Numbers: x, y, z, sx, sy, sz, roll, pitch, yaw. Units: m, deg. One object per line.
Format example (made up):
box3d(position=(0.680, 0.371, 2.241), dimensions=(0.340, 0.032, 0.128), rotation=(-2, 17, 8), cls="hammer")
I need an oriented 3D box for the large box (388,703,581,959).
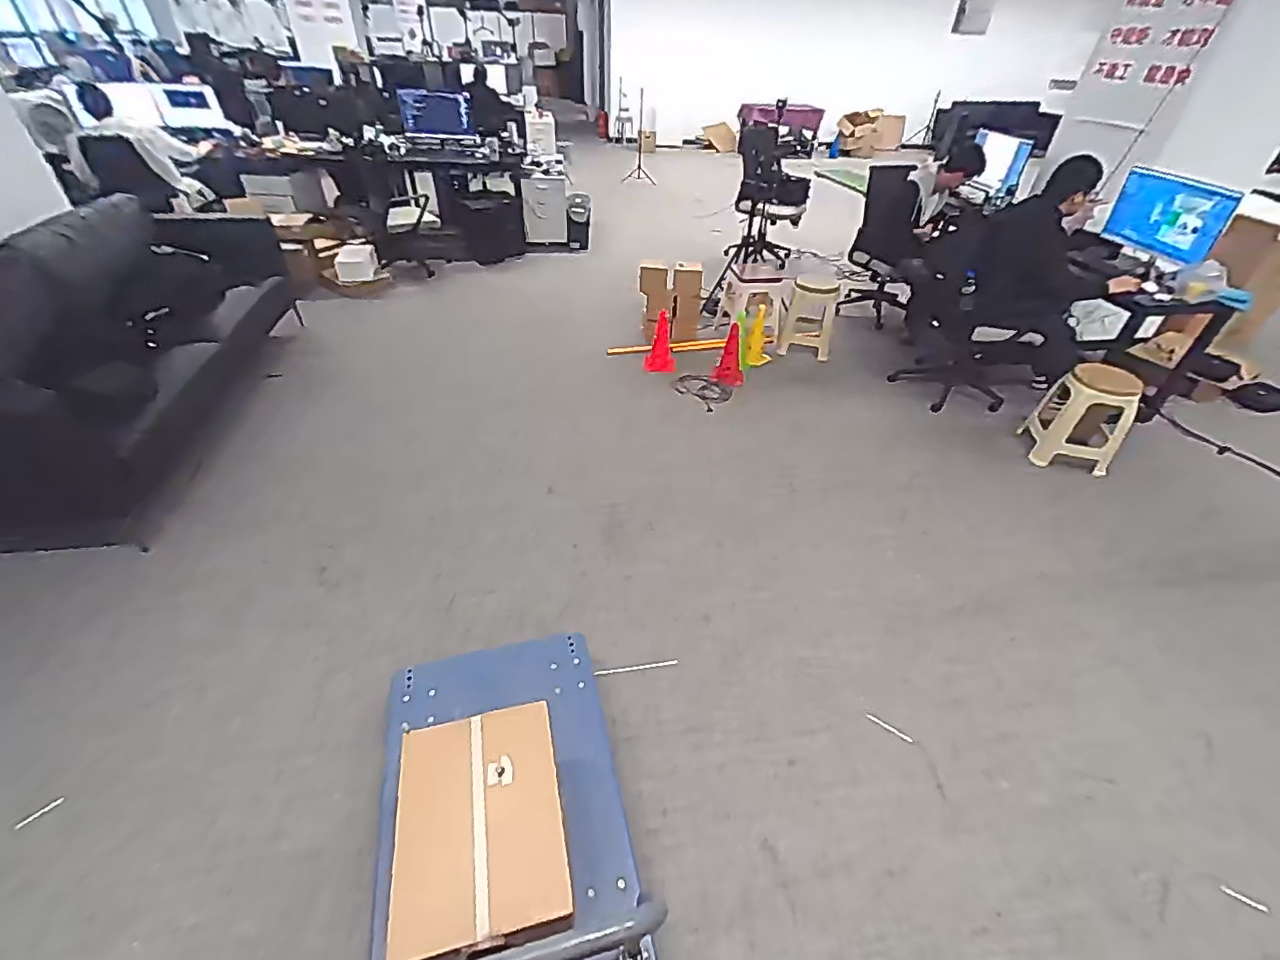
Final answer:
box3d(position=(-0.319, 0.768, 1.151), dimensions=(0.320, 0.320, 0.408), rotation=(-8, 40, -13), cls="large box")
